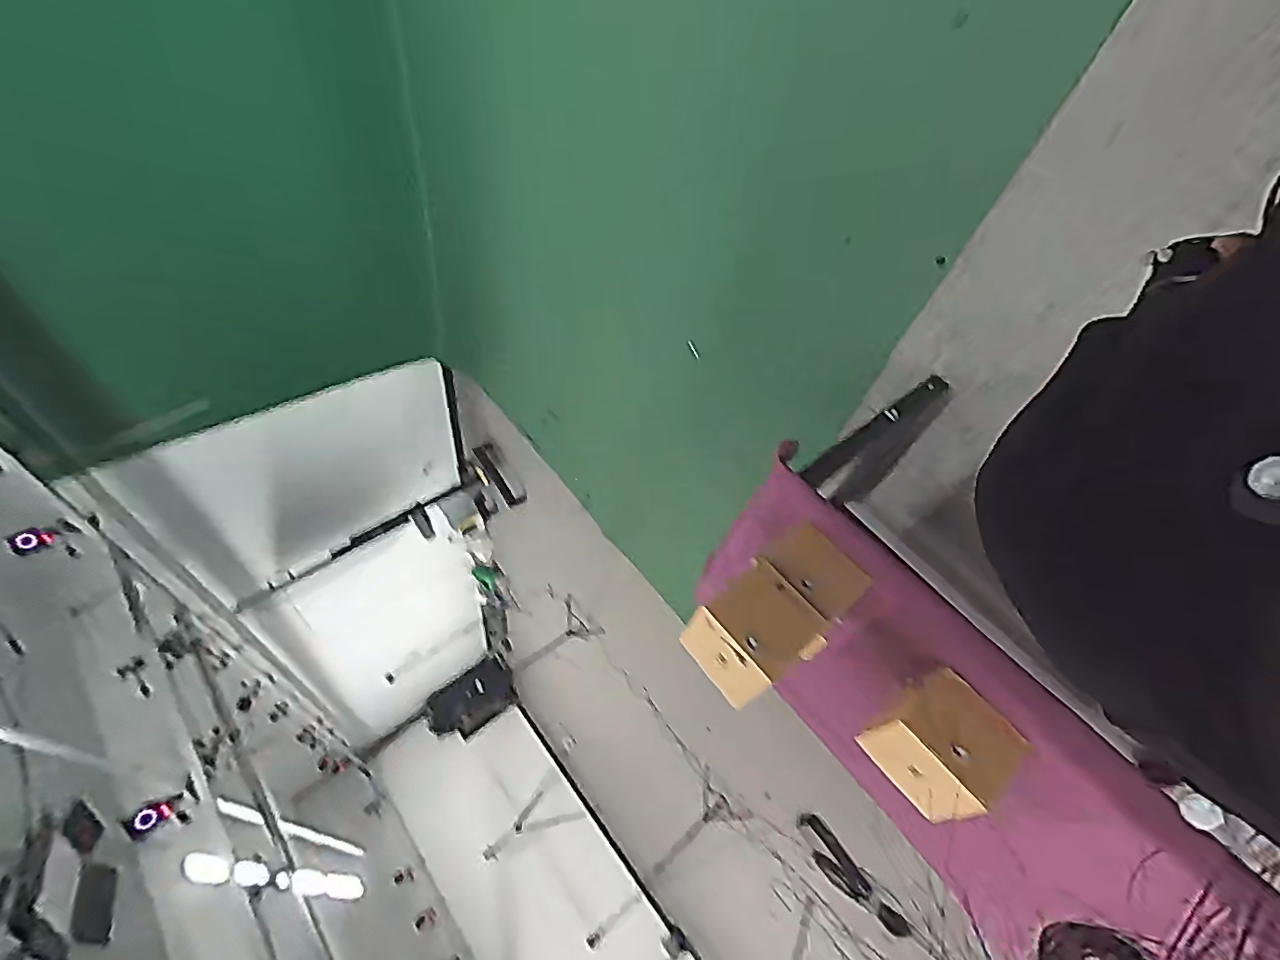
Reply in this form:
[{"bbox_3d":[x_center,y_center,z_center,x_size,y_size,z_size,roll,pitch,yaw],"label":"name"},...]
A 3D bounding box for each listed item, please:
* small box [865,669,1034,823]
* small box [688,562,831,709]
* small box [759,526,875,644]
[{"bbox_3d":[0.562,0.482,0.985,0.179,0.176,0.168,48,149,22],"label":"small box"},{"bbox_3d":[0.220,0.286,1.003,0.168,0.176,0.179,46,148,21],"label":"small box"},{"bbox_3d":[0.339,0.225,1.100,0.179,0.176,0.168,46,147,24],"label":"small box"}]
